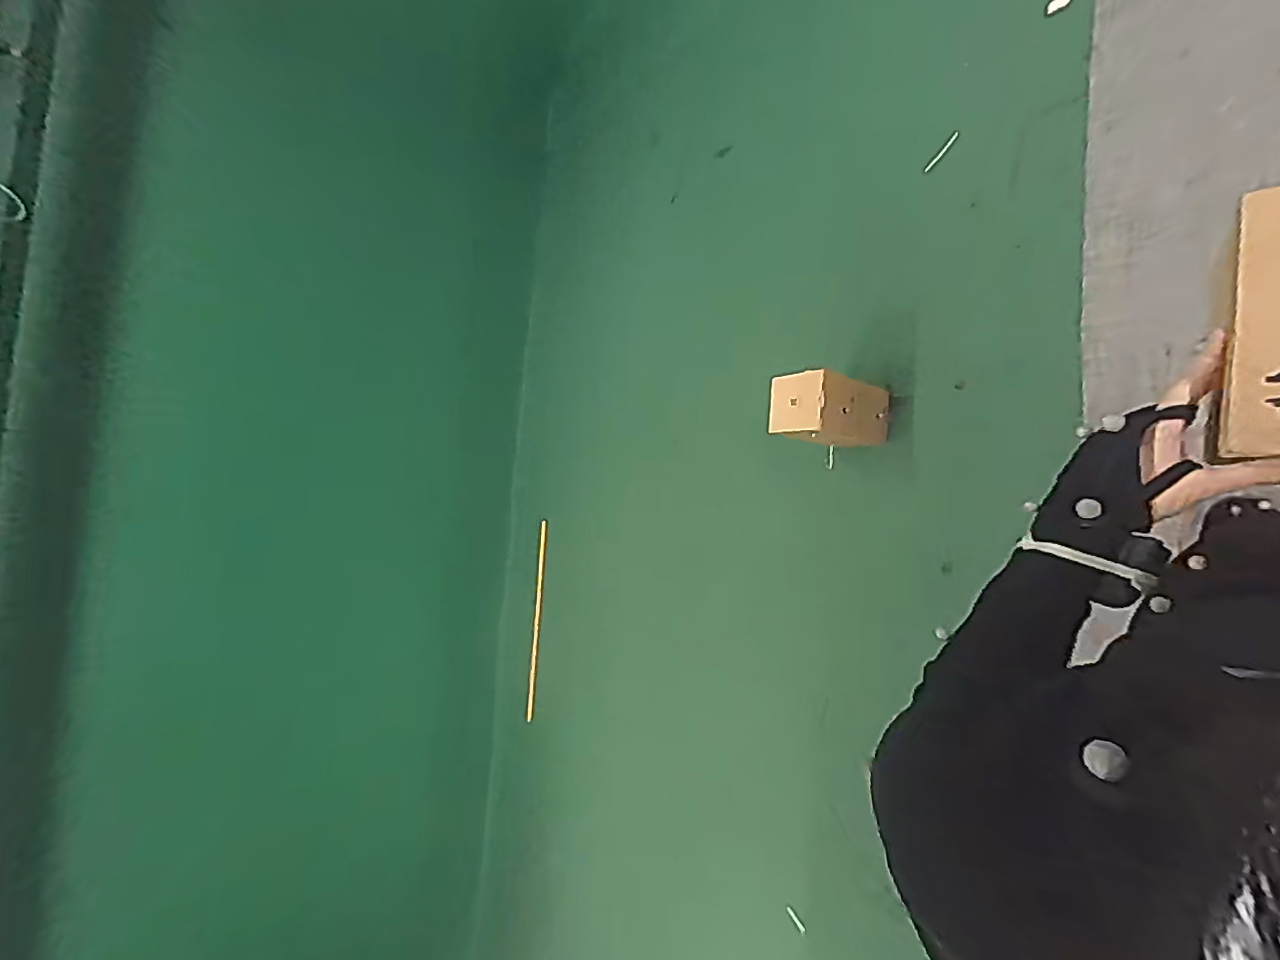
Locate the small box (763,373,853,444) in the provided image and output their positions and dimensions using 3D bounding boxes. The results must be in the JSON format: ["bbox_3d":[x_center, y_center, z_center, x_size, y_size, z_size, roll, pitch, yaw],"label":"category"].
[{"bbox_3d":[0.478,-0.197,1.542,0.179,0.176,0.168,-1,84,52],"label":"small box"}]

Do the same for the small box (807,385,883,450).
[{"bbox_3d":[0.607,-0.182,1.638,0.179,0.176,0.168,1,87,53],"label":"small box"}]
